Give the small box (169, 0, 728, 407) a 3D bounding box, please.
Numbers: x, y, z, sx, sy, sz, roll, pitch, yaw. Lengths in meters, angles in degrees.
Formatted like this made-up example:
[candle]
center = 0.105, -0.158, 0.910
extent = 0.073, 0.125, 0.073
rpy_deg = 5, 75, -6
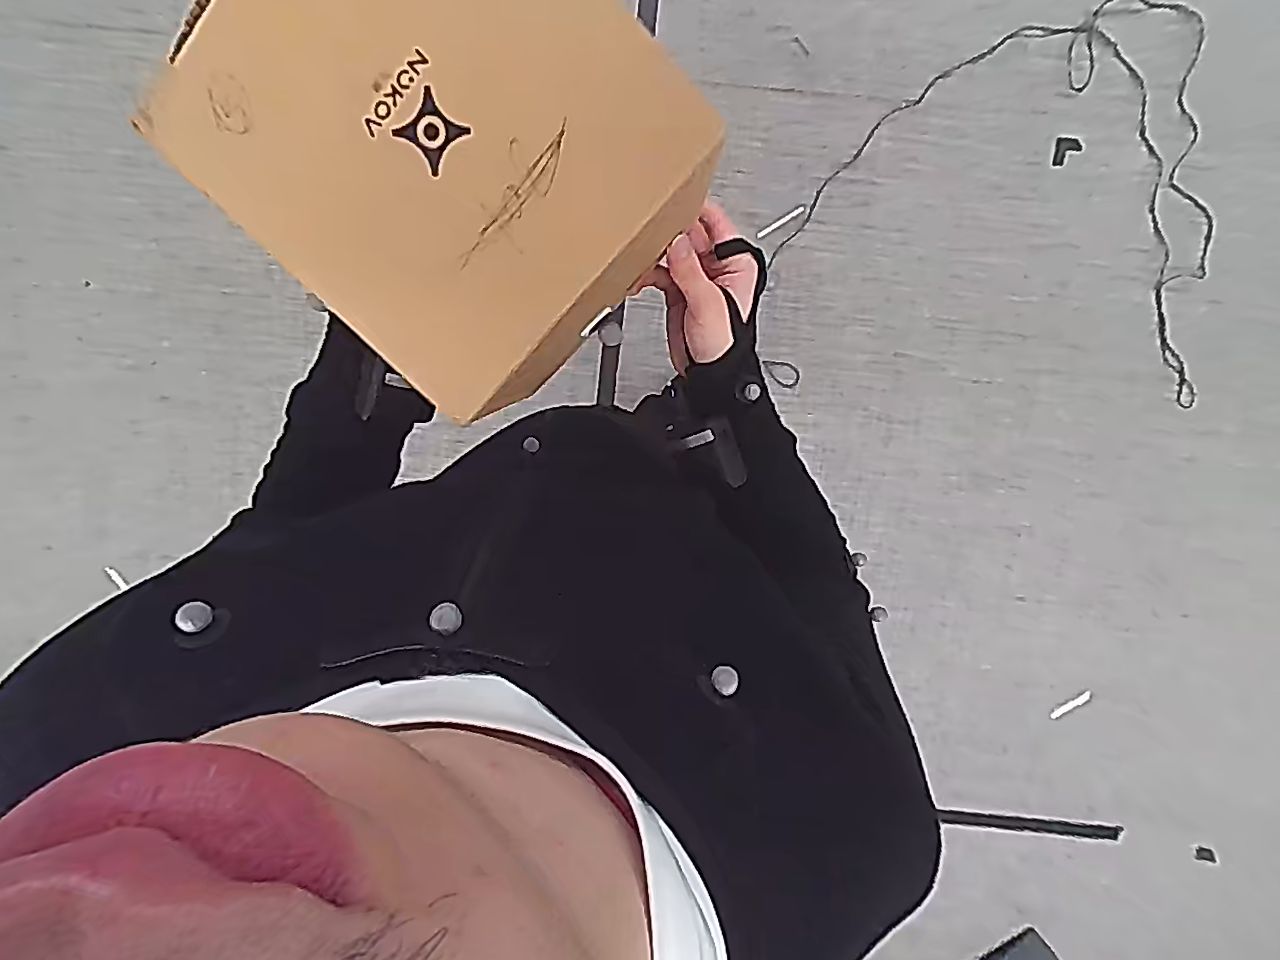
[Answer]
[small box]
center = -0.078, -0.164, 0.300
extent = 0.179, 0.176, 0.168
rpy_deg = 43, 102, -9
